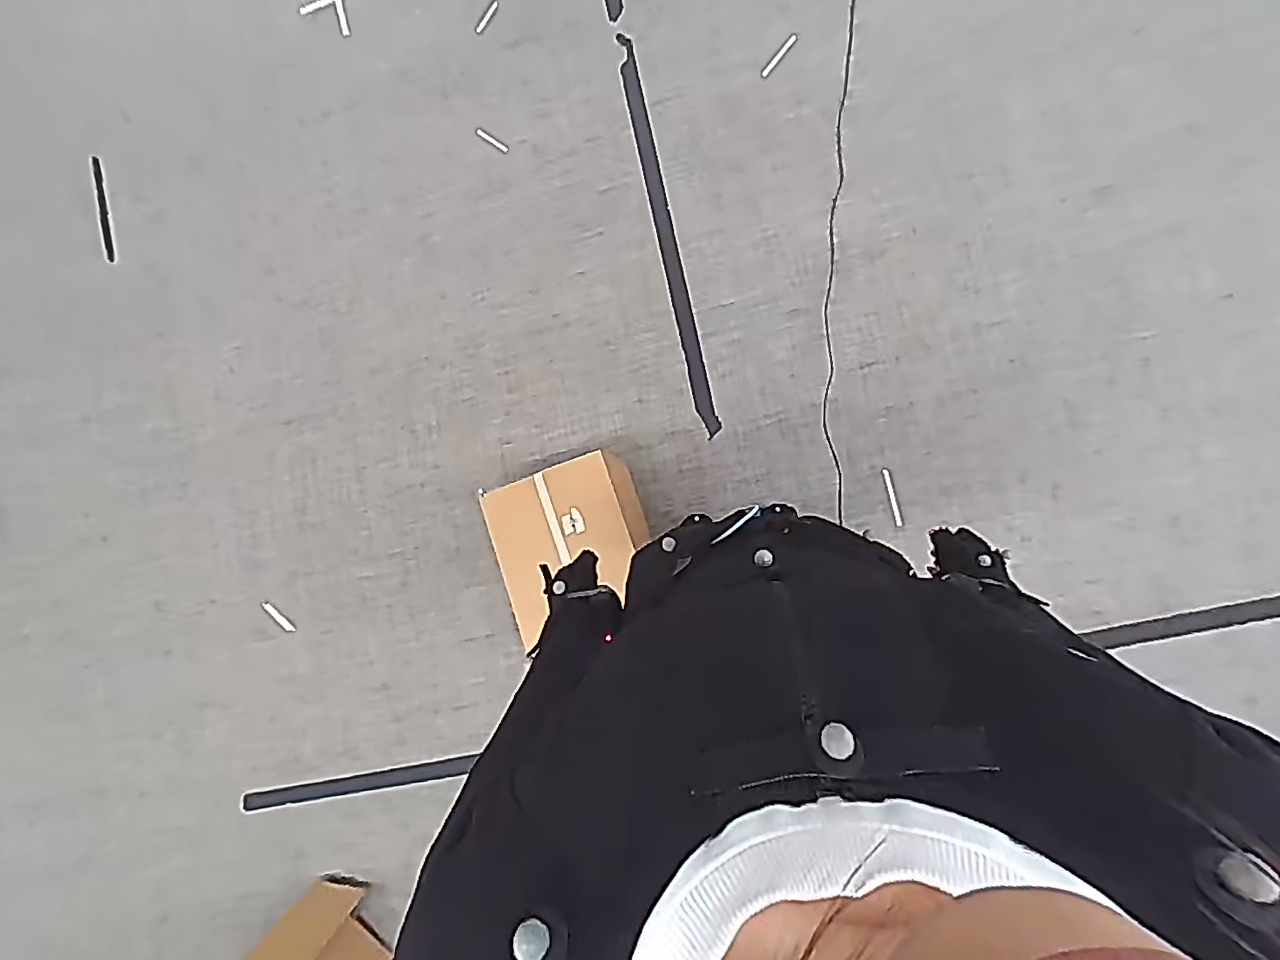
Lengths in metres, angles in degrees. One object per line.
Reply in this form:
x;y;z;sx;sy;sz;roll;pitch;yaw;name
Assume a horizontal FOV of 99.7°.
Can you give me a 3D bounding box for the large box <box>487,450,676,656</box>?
-0.131;0.179;1.378;0.320;0.320;0.408;-20;82;7;large box
